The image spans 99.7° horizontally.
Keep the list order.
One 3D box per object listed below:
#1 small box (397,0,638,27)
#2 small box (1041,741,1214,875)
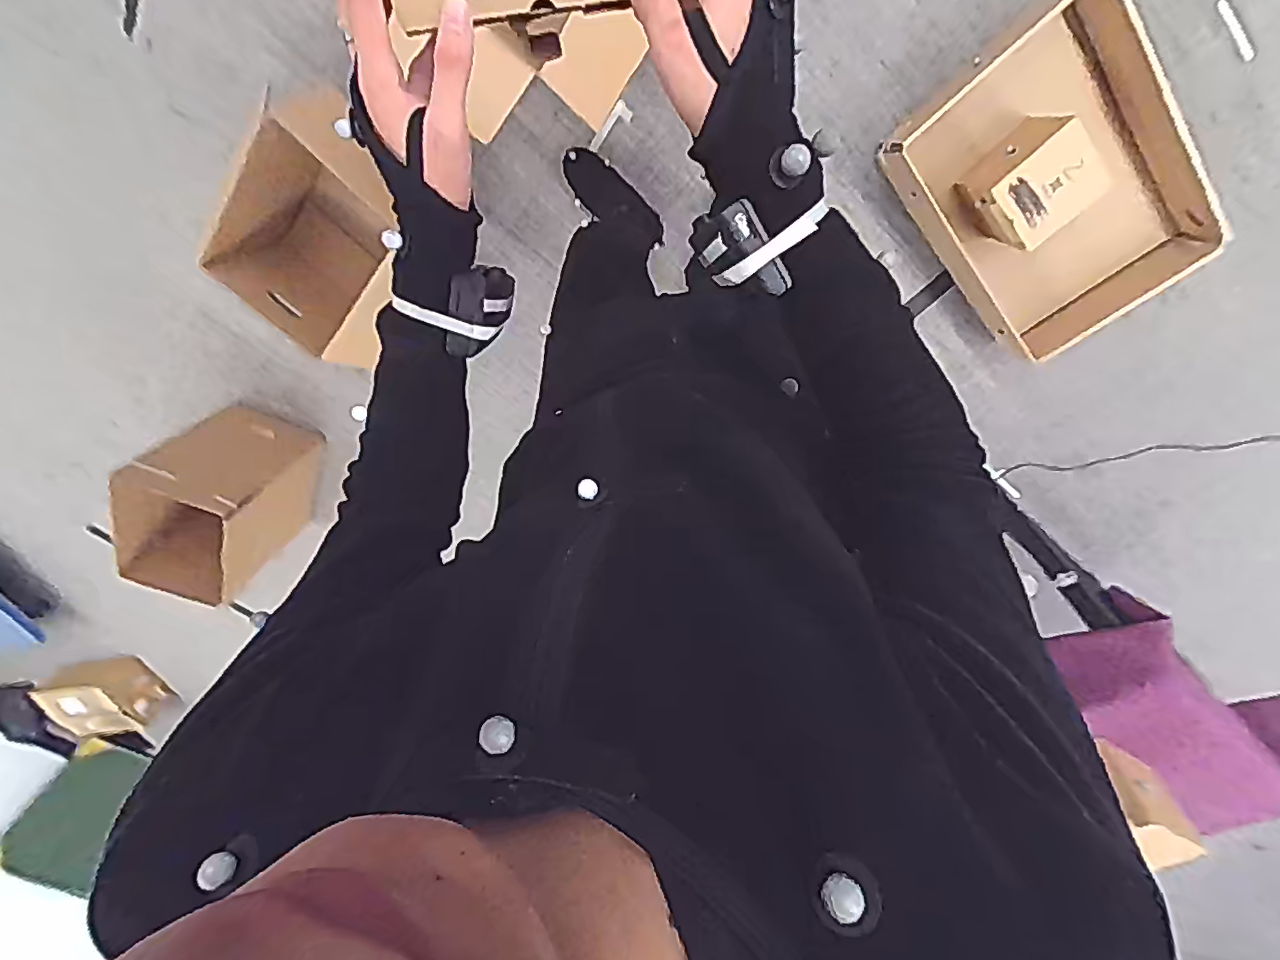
[{"bbox_3d":[-0.067,-0.381,0.295,0.168,0.176,0.179,-9,136,-1],"label":"small box"},{"bbox_3d":[0.989,0.670,1.118,0.179,0.176,0.168,30,122,-12],"label":"small box"}]
